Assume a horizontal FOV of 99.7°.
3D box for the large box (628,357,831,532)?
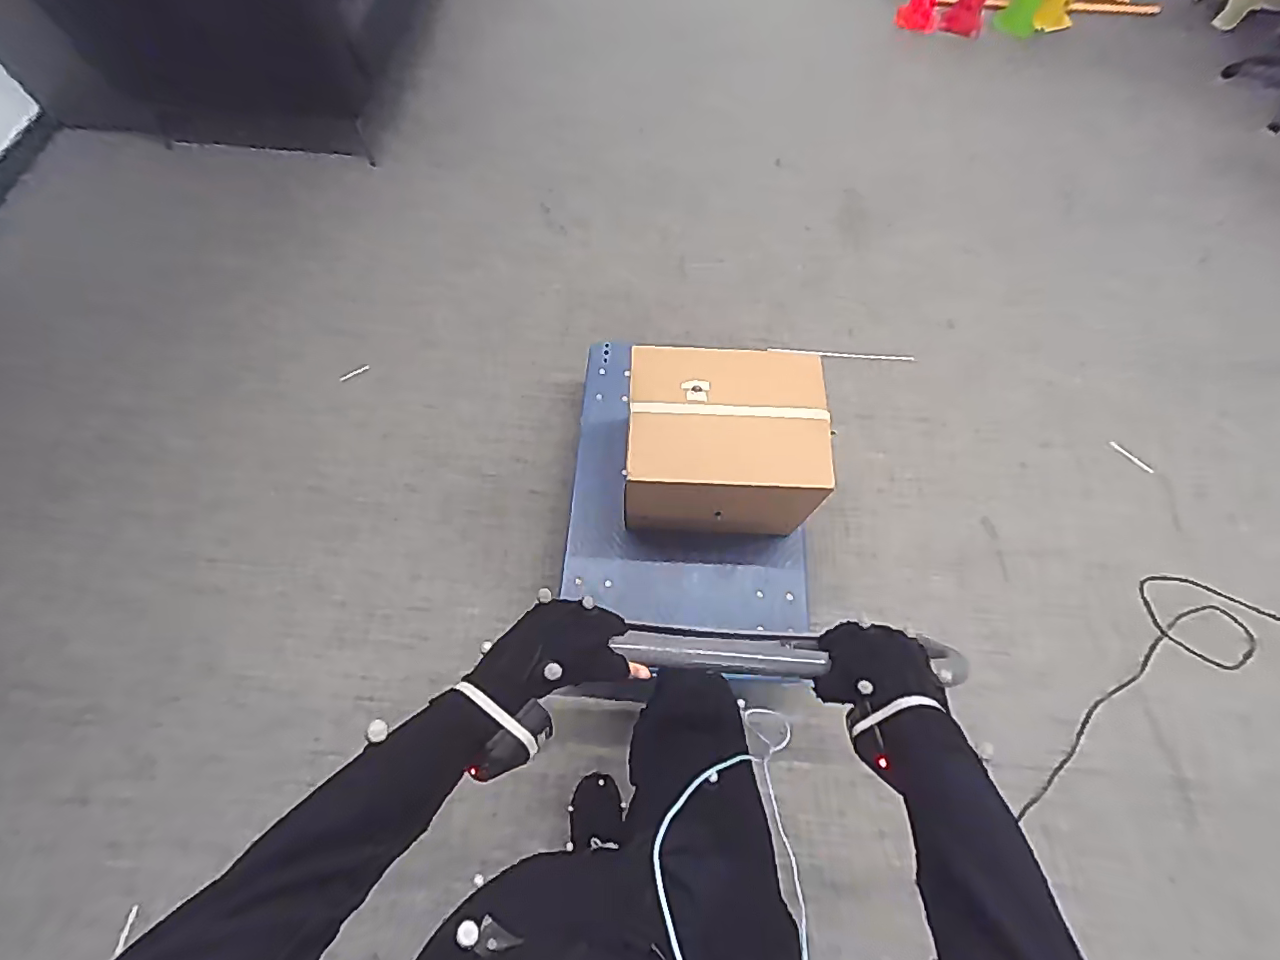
[{"bbox_3d":[0.177,-0.066,1.245,0.408,0.320,0.320,0,67,0],"label":"large box"}]
